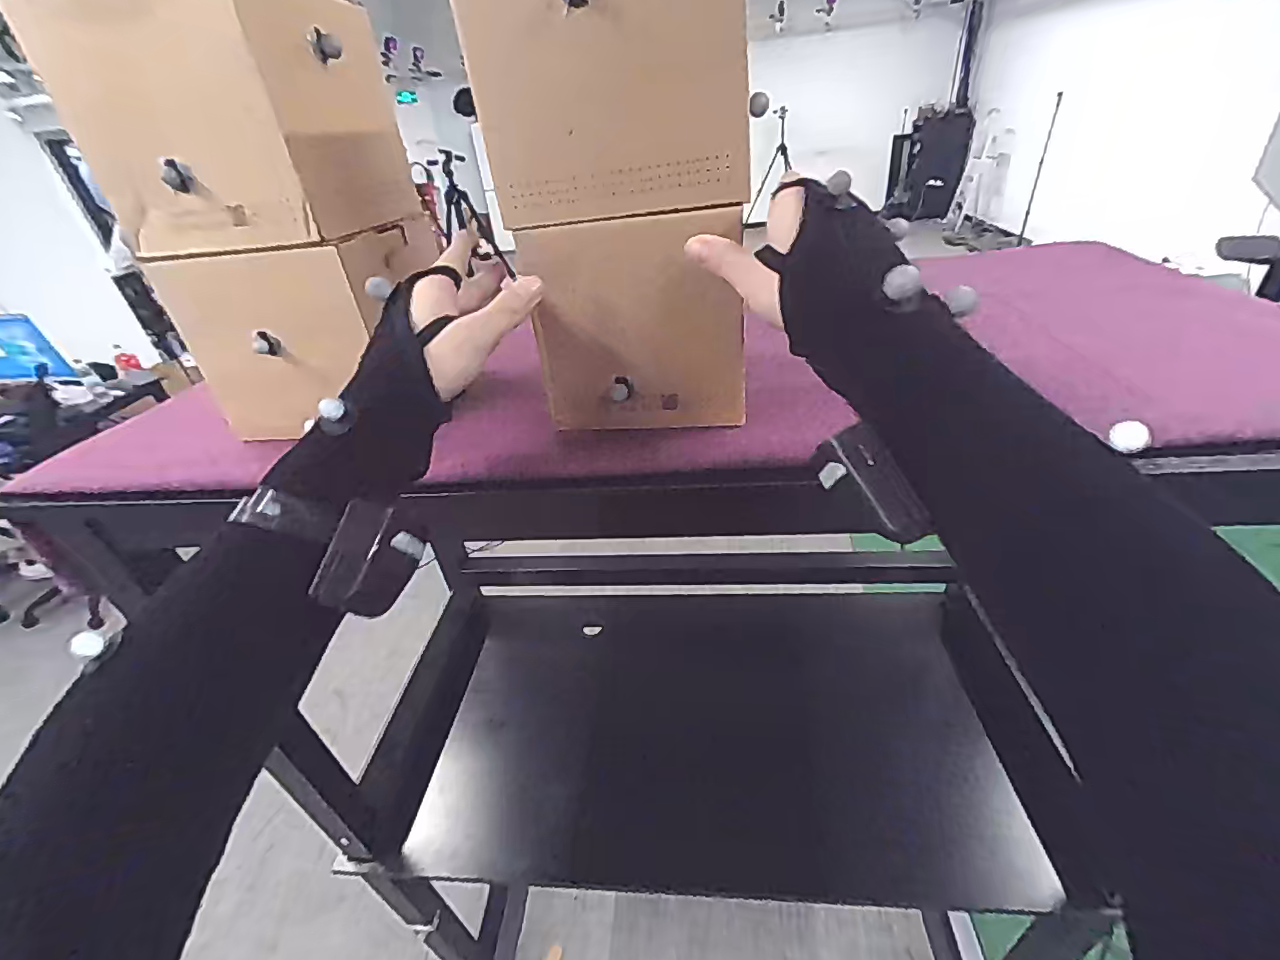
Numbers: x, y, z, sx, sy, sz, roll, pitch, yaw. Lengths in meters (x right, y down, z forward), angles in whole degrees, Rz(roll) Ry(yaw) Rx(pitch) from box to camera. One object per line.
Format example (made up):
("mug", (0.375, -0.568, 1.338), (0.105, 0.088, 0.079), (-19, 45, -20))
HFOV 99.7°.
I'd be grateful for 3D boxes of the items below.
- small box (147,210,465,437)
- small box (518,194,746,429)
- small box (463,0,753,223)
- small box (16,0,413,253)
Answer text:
("small box", (-0.295, -0.153, 0.530), (0.179, 0.176, 0.168), (-2, 33, 8))
("small box", (0.010, -0.158, 0.487), (0.168, 0.176, 0.179), (-1, 34, 10))
("small box", (-0.011, -0.293, 0.395), (0.179, 0.176, 0.168), (-2, 33, 10))
("small box", (-0.315, -0.294, 0.451), (0.168, 0.176, 0.179), (-2, 33, 8))
